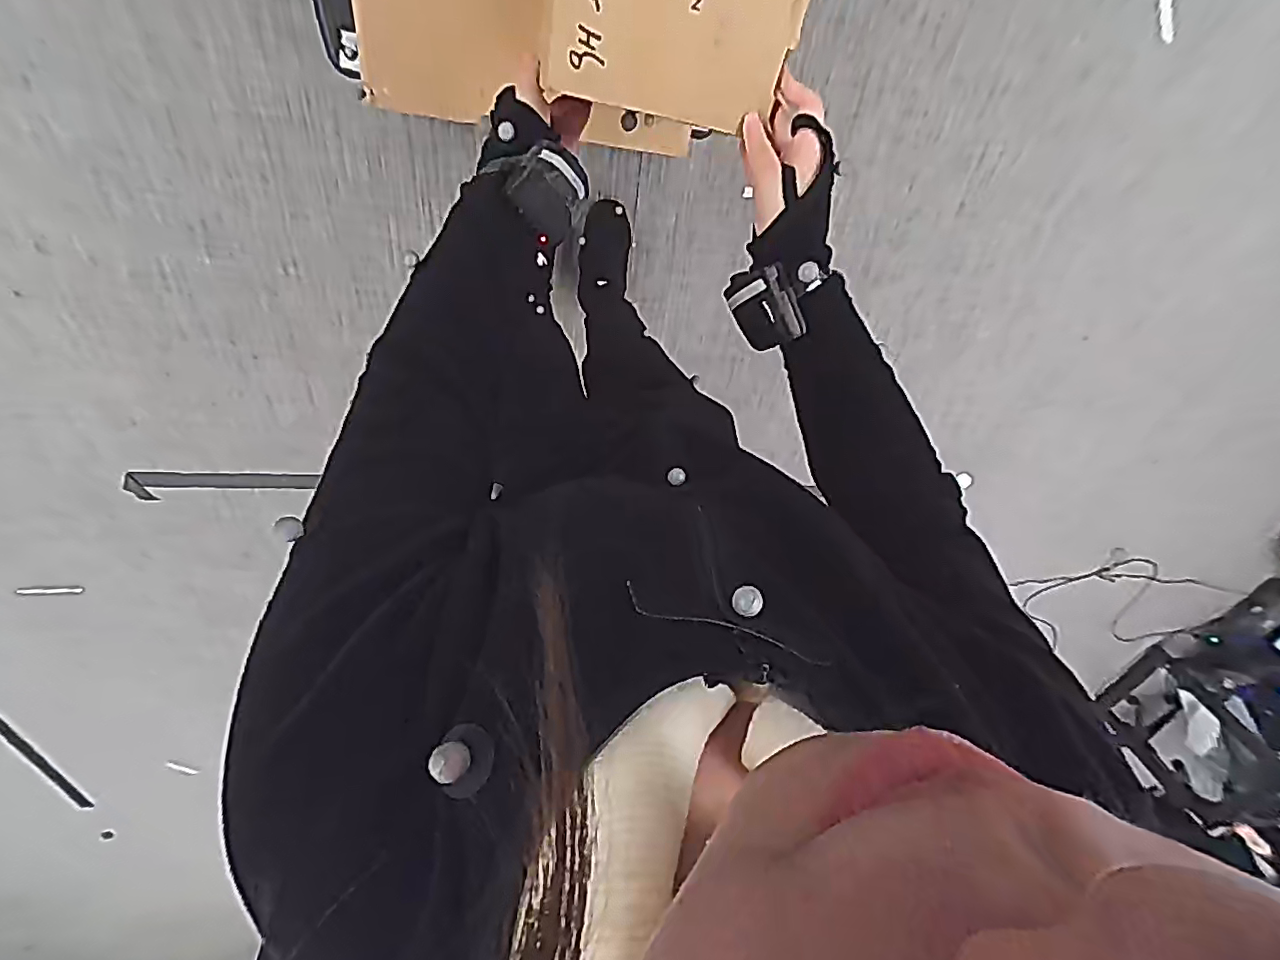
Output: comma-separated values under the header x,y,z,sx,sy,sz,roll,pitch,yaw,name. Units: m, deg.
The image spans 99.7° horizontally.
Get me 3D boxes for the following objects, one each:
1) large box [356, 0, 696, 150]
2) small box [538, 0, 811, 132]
x,y,z,sx,sy,sz,roll,pitch,yaw,name
-0.125,-0.654,0.706,0.408,0.320,0.320,2,126,-12,large box
0.022,-0.389,0.415,0.179,0.176,0.168,3,125,-16,small box
